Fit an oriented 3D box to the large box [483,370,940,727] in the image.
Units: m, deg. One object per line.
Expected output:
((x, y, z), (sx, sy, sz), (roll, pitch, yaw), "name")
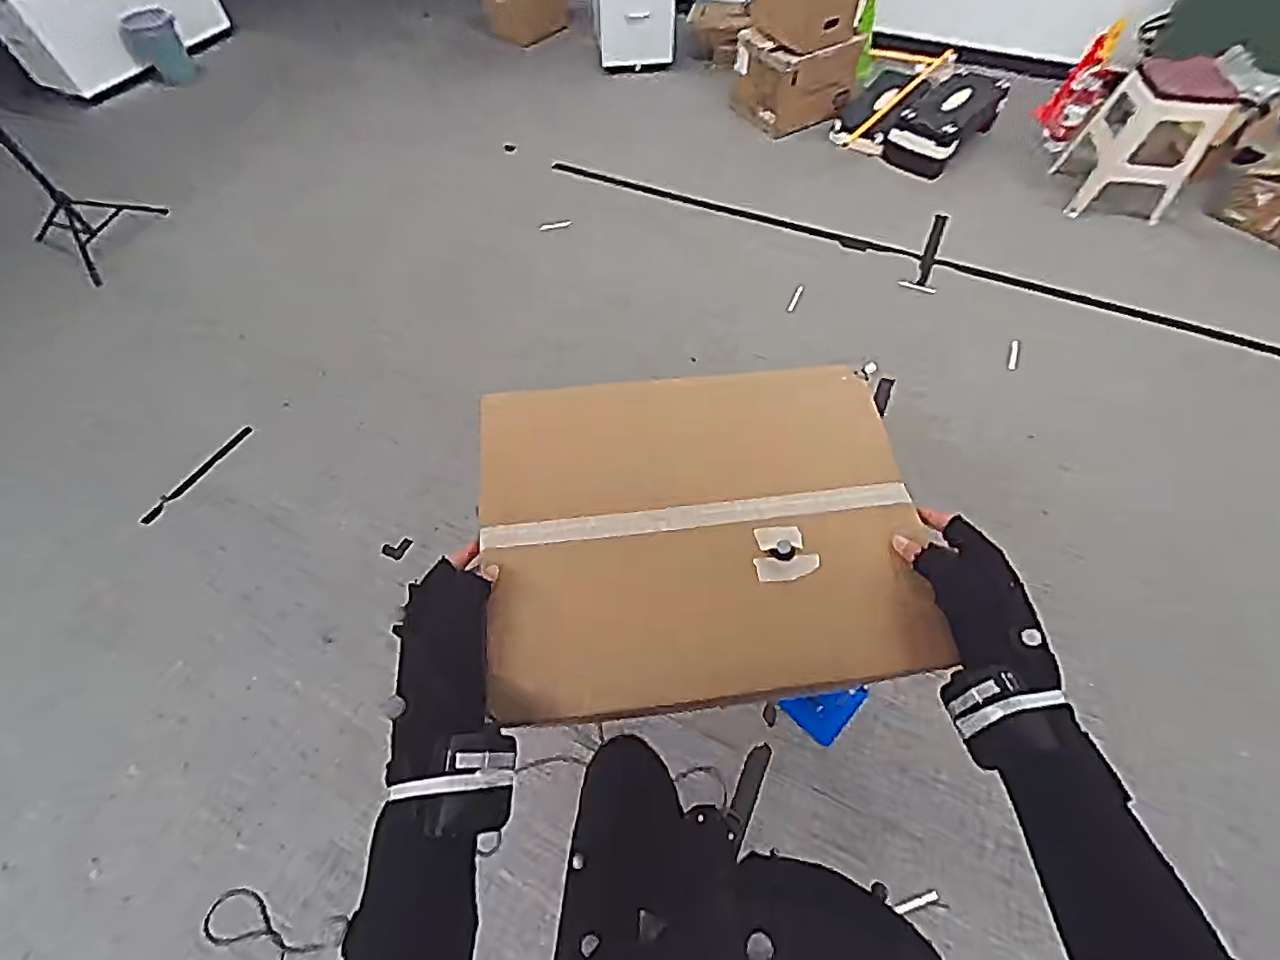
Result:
((0.046, 0.101, 0.656), (0.408, 0.320, 0.320), (-6, 65, -5), "large box")

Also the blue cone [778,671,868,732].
((0.456, 0.431, 1.231), (0.192, 0.380, 0.193), (-39, 66, -21), "blue cone")
